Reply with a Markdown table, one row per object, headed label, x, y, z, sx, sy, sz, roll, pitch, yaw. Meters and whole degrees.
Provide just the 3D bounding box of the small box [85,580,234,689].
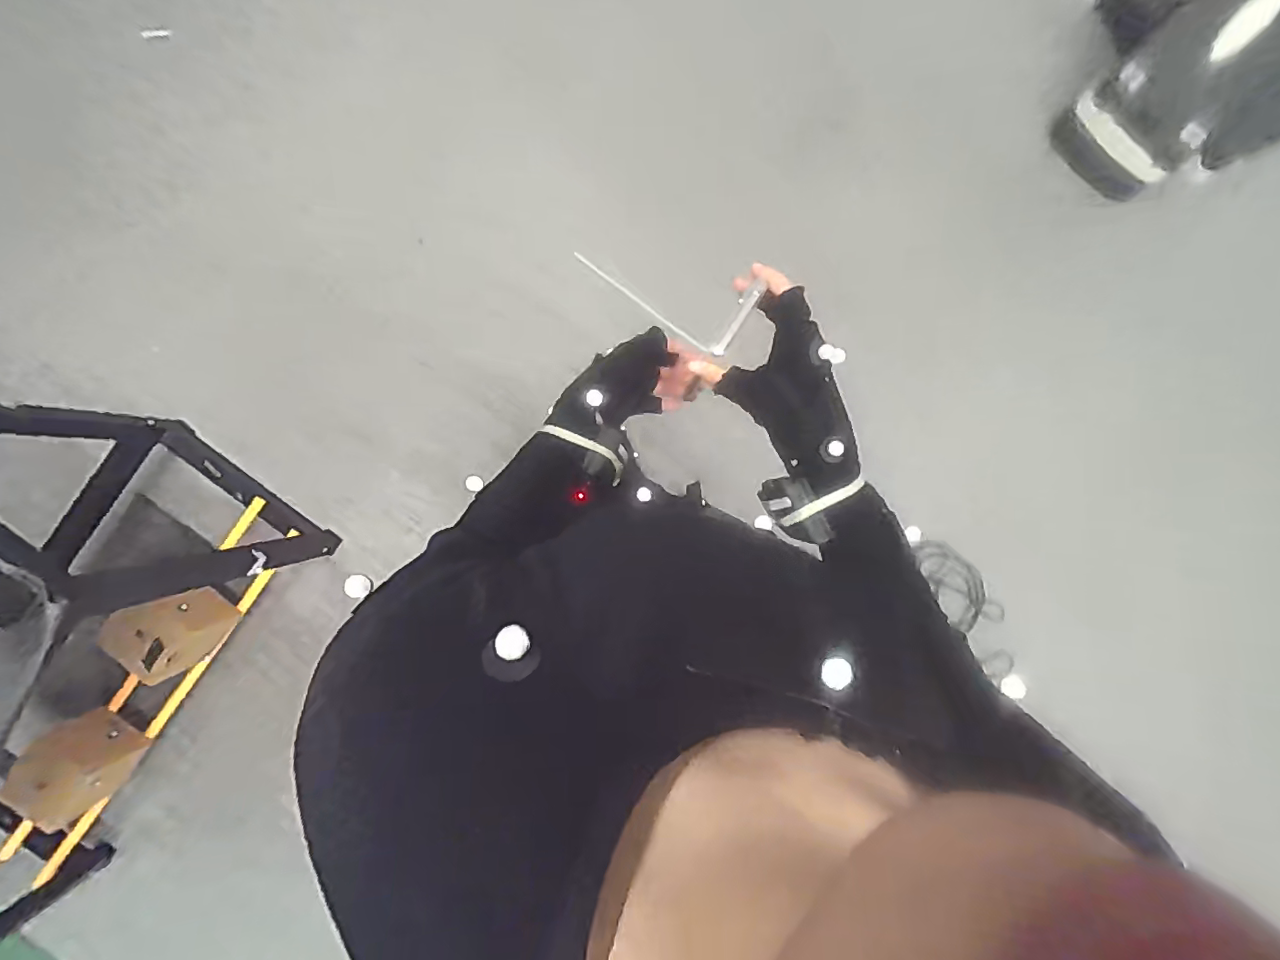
| label | x | y | z | sx | sy | sz | roll | pitch | yaw |
| --- | --- | --- | --- | --- | --- | --- | --- | --- | --- |
| small box | -1.158 | 0.365 | 1.320 | 0.179 | 0.176 | 0.168 | 40 | 91 | 0 |
